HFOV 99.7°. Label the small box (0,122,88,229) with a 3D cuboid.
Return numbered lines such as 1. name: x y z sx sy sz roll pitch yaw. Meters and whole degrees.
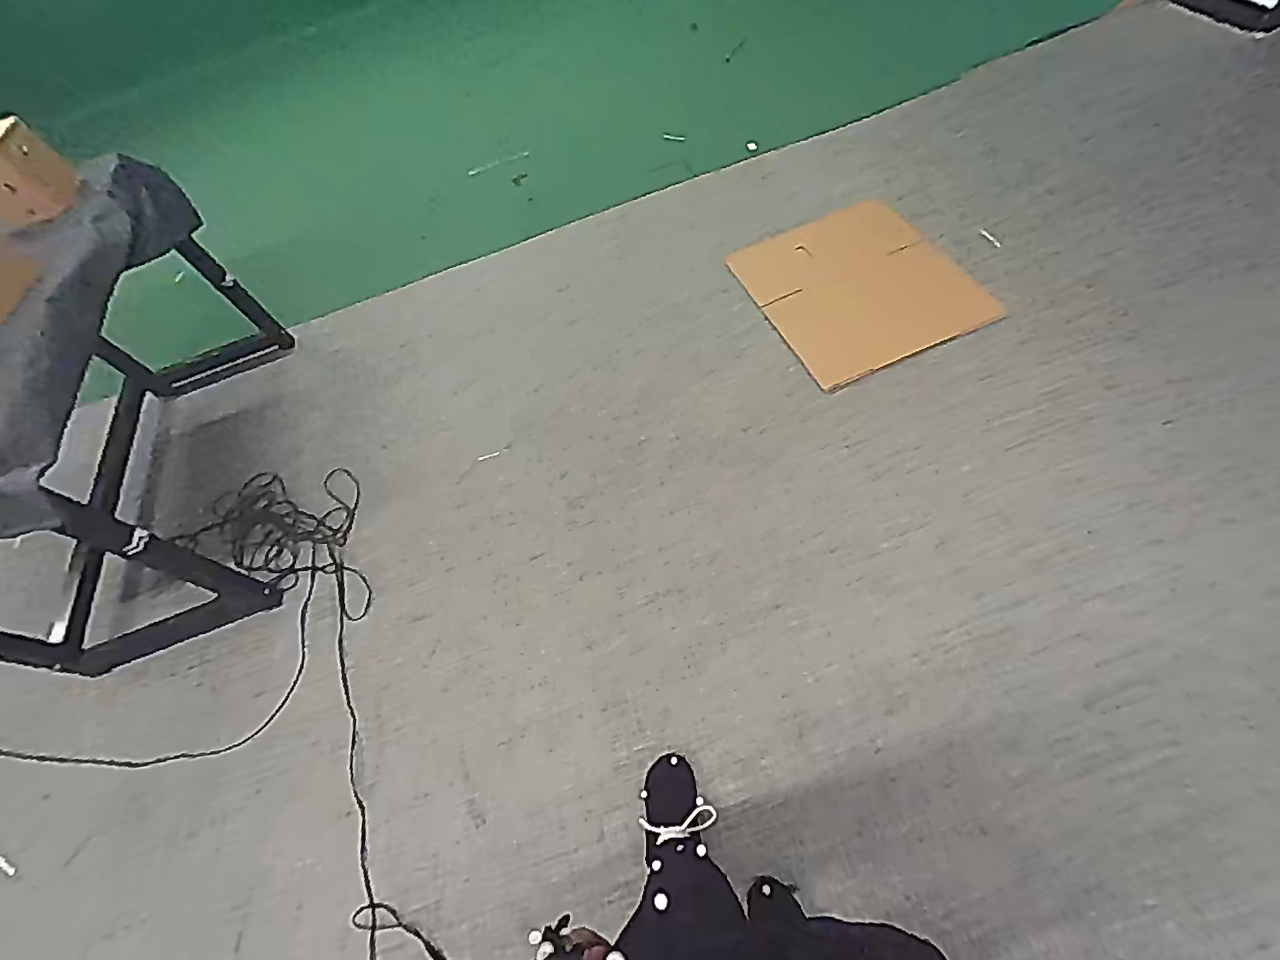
1. small box: -1.606 -0.779 1.402 0.168 0.176 0.179 -16 58 1
